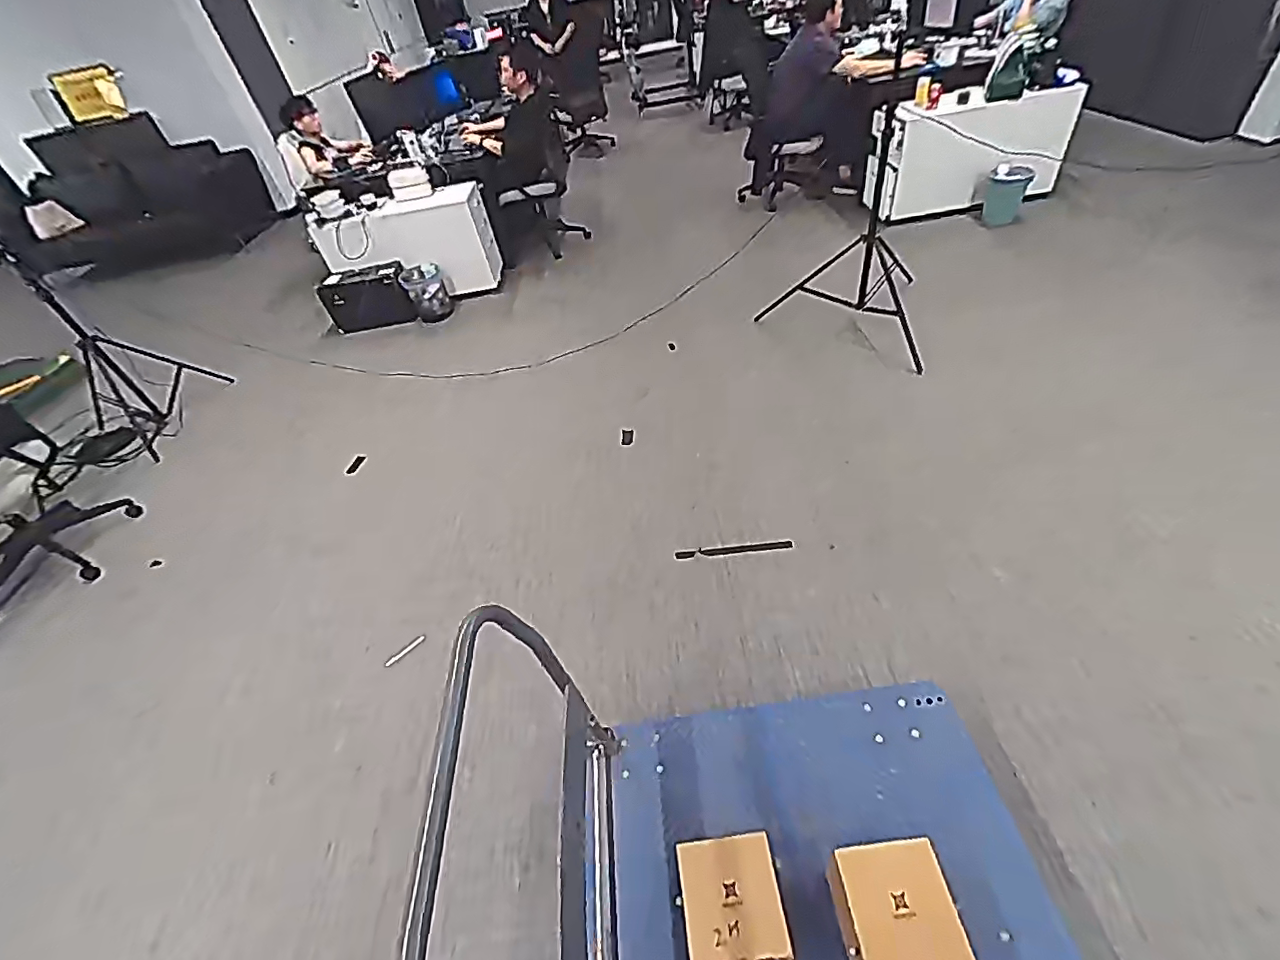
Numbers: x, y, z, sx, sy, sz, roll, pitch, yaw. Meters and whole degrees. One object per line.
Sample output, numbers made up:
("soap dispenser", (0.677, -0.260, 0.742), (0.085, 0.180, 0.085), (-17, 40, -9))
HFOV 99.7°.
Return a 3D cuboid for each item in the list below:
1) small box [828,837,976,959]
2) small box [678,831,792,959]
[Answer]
("small box", (0.436, 0.747, 0.932), (0.168, 0.176, 0.179), (-10, 44, 3))
("small box", (0.166, 0.763, 0.973), (0.168, 0.176, 0.179), (-10, 44, 3))
